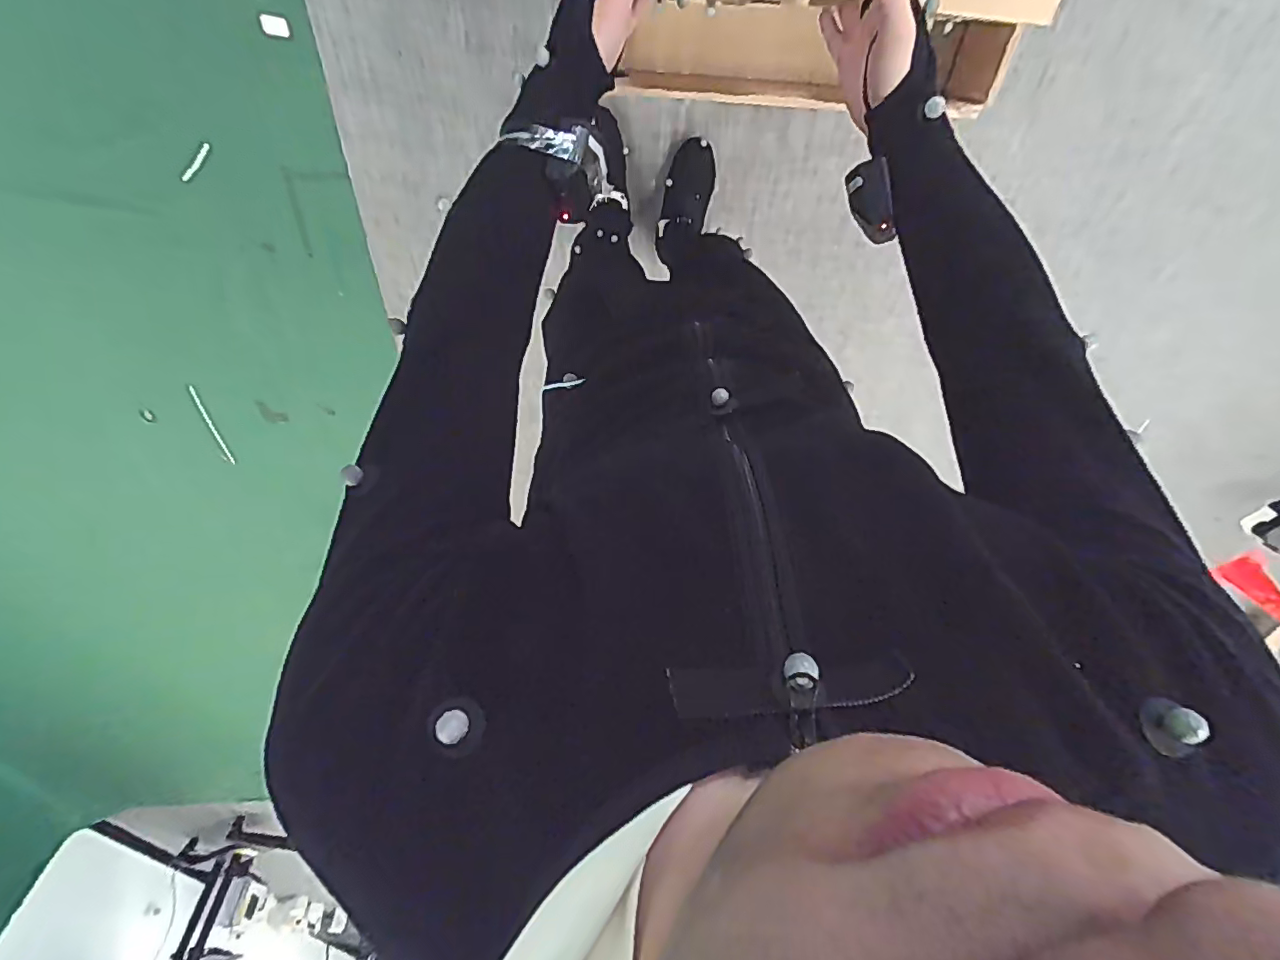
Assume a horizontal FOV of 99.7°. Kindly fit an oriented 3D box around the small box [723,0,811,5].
[{"bbox_3d":[0.095,-0.602,0.542,0.168,0.176,0.179,1,131,-5],"label":"small box"}]

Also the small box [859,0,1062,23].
[{"bbox_3d":[0.353,-0.600,0.568,0.179,0.176,0.168,2,133,-7],"label":"small box"}]
